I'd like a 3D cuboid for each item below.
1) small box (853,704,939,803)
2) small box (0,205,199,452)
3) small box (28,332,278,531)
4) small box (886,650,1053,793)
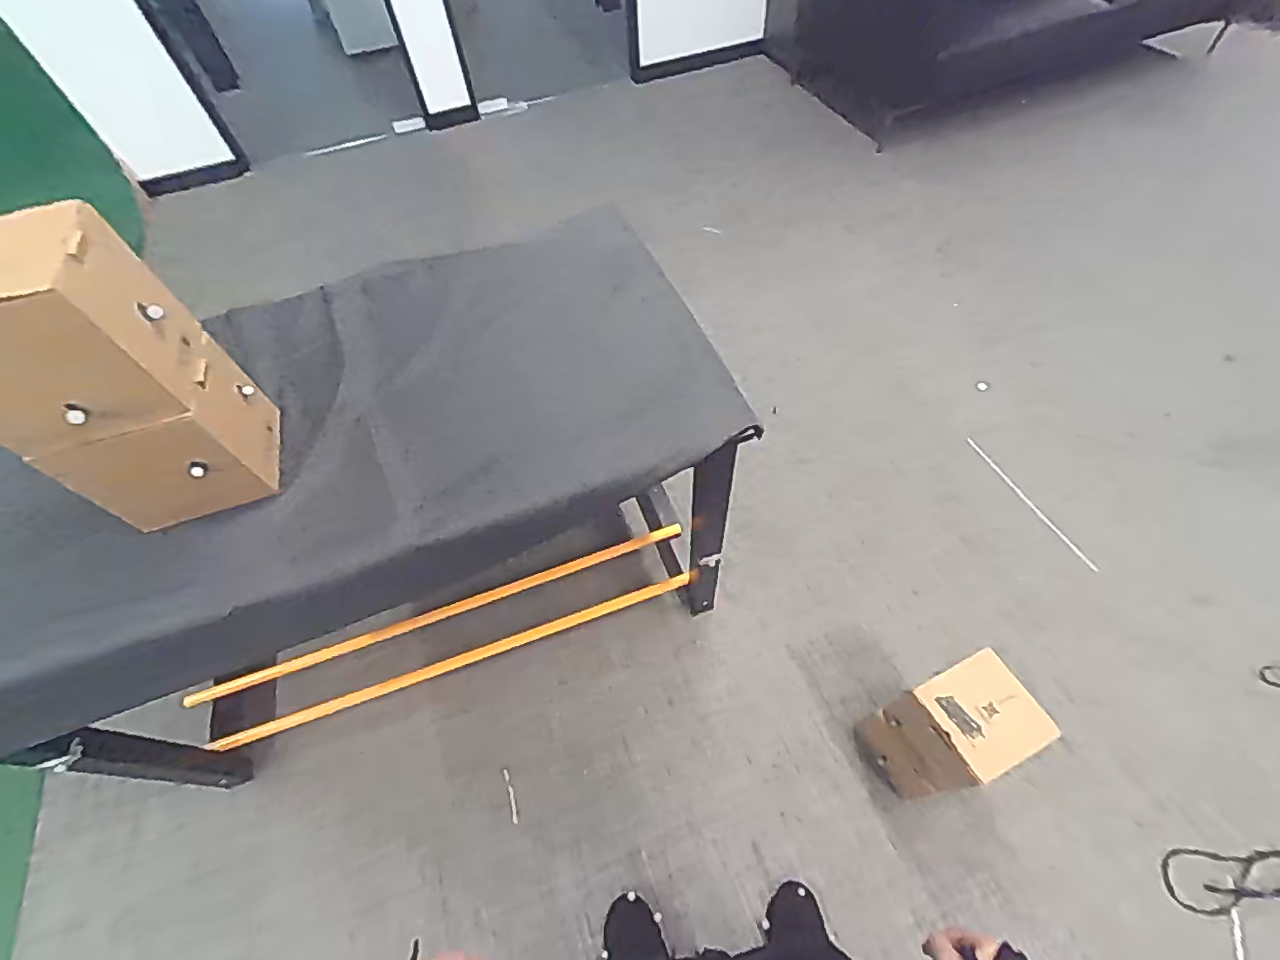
[{"bbox_3d":[0.575,0.541,1.119,0.179,0.176,0.168,-24,57,-12],"label":"small box"},{"bbox_3d":[-0.625,-0.159,0.584,0.179,0.176,0.168,-19,56,-10],"label":"small box"},{"bbox_3d":[-0.614,-0.060,0.715,0.179,0.176,0.168,-19,55,-9],"label":"small box"},{"bbox_3d":[0.580,0.445,0.985,0.179,0.176,0.168,-22,58,-13],"label":"small box"}]
